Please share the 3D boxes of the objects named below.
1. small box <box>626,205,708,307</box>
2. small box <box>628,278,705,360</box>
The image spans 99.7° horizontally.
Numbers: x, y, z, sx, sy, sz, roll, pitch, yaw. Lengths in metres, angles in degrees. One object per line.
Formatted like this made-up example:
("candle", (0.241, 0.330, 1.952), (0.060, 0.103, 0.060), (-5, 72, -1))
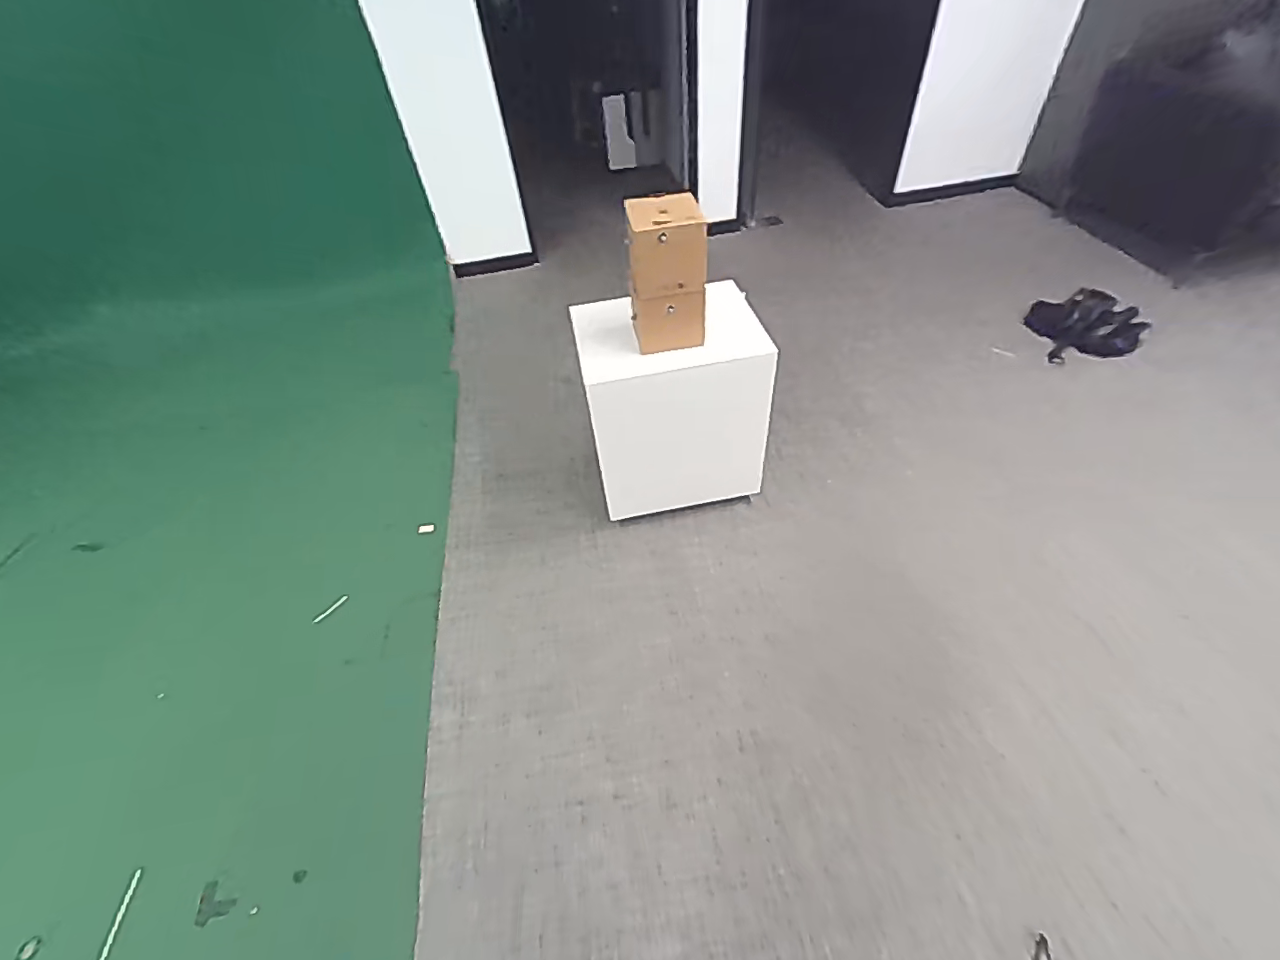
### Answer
("small box", (0.062, -0.548, 1.326), (0.168, 0.176, 0.179), (-10, 48, -5))
("small box", (0.071, -0.437, 1.443), (0.179, 0.176, 0.168), (-9, 47, -4))
